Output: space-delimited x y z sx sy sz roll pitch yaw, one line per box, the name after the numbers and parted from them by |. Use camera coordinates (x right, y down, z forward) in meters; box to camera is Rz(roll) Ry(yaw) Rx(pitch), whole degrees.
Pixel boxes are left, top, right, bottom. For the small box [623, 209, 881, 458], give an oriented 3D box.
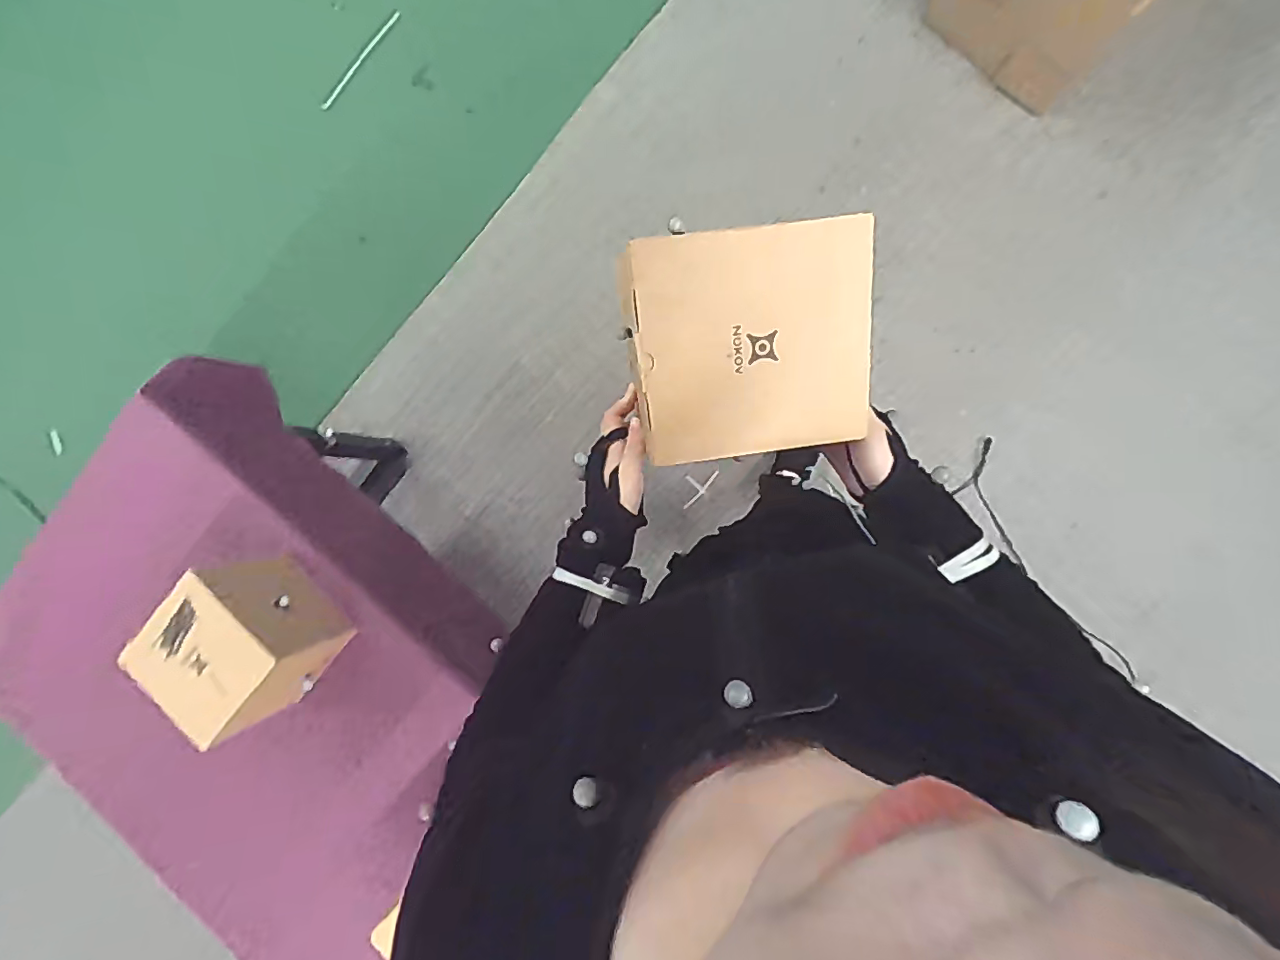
0.083 -0.131 0.471 0.179 0.176 0.168 -7 111 -1 | small box

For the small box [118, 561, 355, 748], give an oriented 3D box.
-0.564 0.233 0.779 0.179 0.176 0.168 42 96 5 | small box
